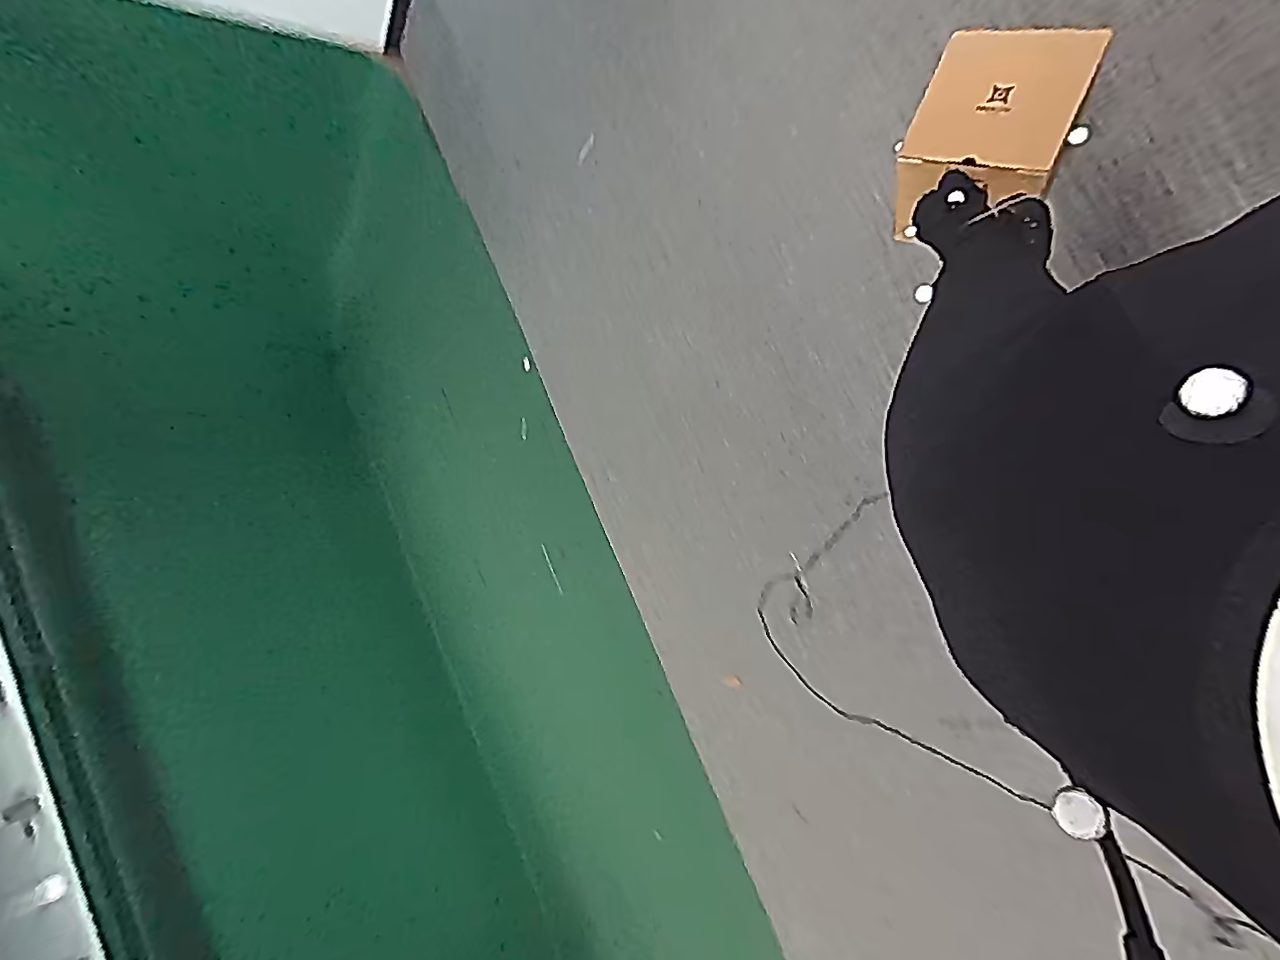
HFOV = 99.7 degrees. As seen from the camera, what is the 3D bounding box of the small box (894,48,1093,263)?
[{"bbox_3d":[0.450,-0.424,0.719,0.168,0.176,0.179,22,86,27],"label":"small box"}]
